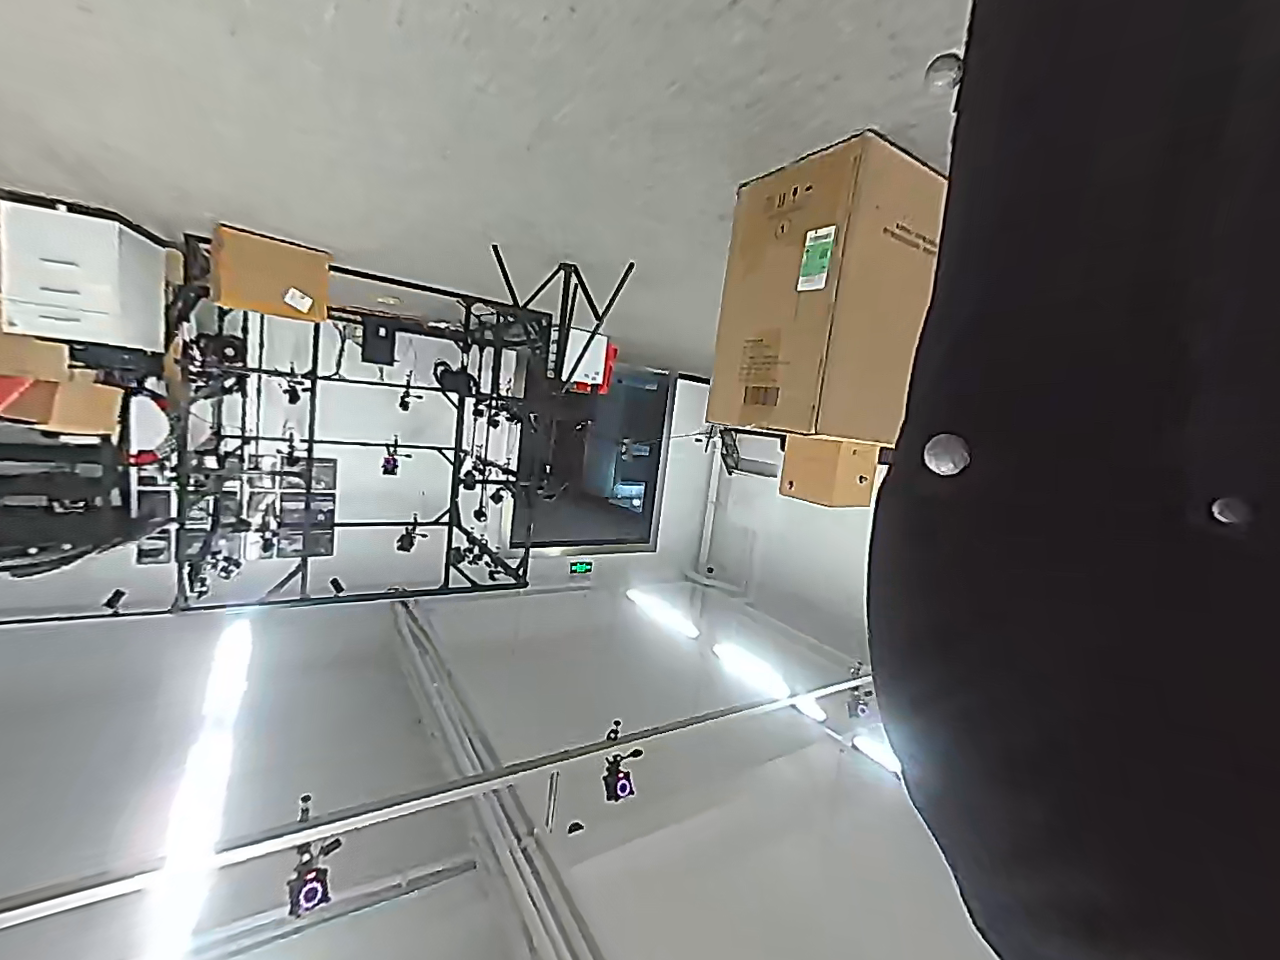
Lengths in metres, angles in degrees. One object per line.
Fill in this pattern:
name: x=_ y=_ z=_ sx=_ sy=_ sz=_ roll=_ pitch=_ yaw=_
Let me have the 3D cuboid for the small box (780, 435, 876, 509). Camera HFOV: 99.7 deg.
small box: x=0.494 y=-0.024 z=1.410 sx=0.168 sy=0.176 sz=0.179 roll=2 pitch=-171 yaw=-34
